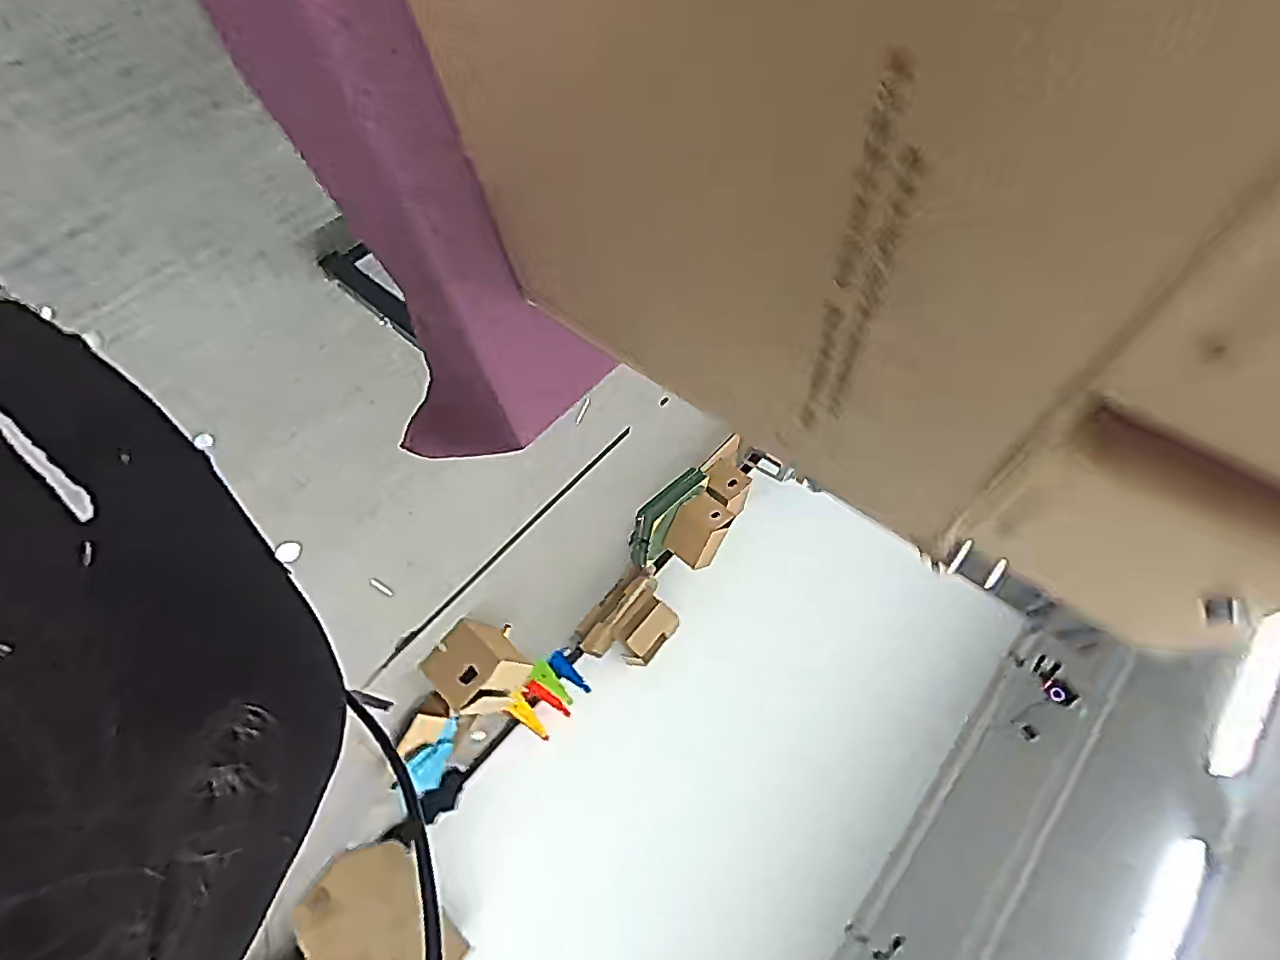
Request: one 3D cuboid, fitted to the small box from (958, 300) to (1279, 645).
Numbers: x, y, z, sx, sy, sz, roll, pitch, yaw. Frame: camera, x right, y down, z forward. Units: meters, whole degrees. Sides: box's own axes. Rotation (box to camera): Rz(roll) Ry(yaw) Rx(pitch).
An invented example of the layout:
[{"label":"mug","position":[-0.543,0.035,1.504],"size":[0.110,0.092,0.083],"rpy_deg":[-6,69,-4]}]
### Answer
[{"label":"small box","position":[0.395,-0.007,0.424],"size":[0.179,0.176,0.168],"rpy_deg":[-48,156,-17]}]
